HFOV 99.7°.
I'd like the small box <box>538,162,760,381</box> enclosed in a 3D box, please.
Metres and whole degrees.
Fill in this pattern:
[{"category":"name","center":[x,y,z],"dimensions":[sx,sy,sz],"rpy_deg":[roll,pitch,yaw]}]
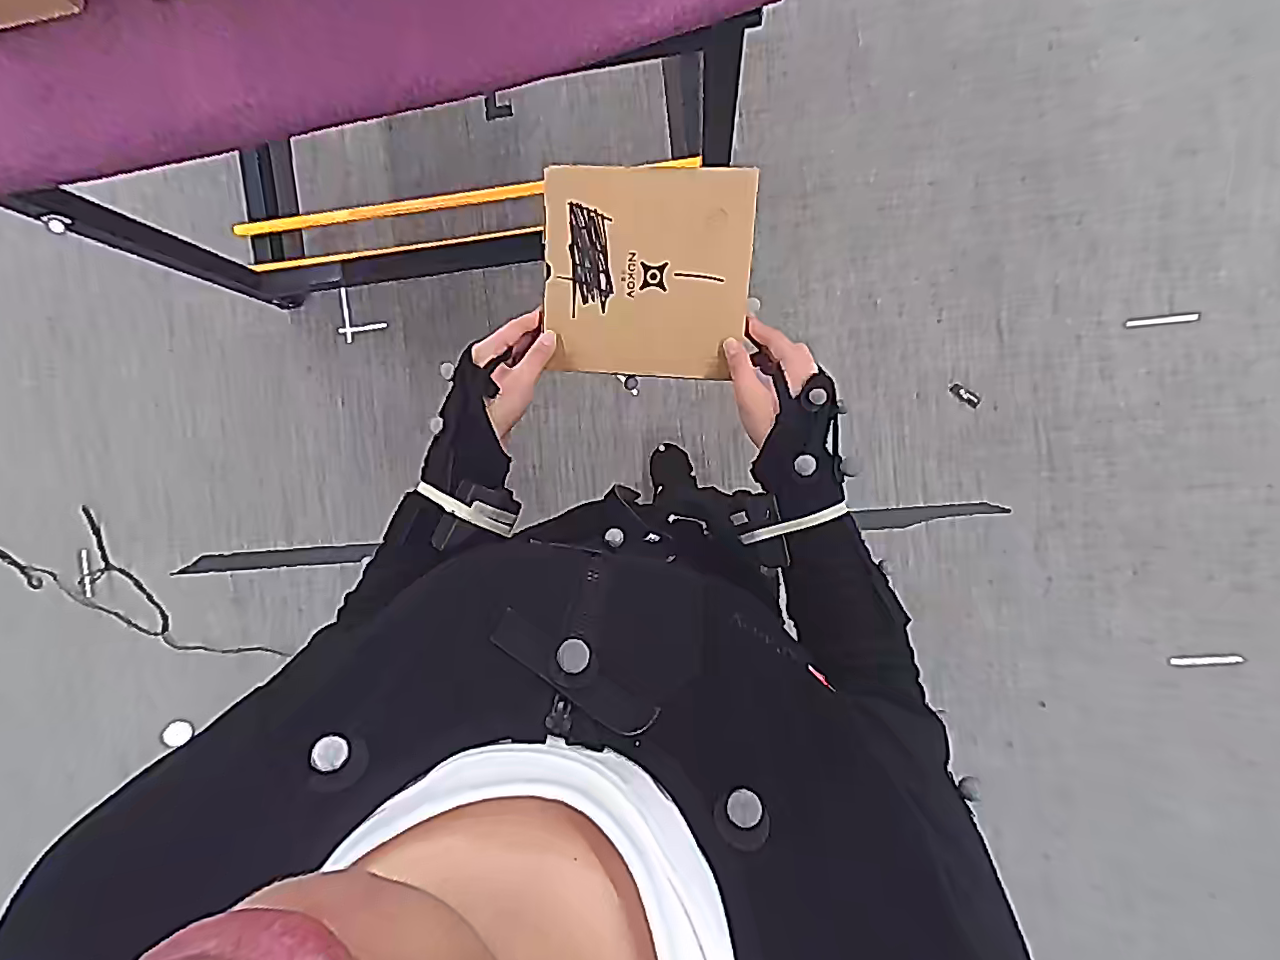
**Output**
[{"category":"small box","center":[0.013,-0.184,0.521],"dimensions":[0.179,0.176,0.168],"rpy_deg":[5,101,6]}]
